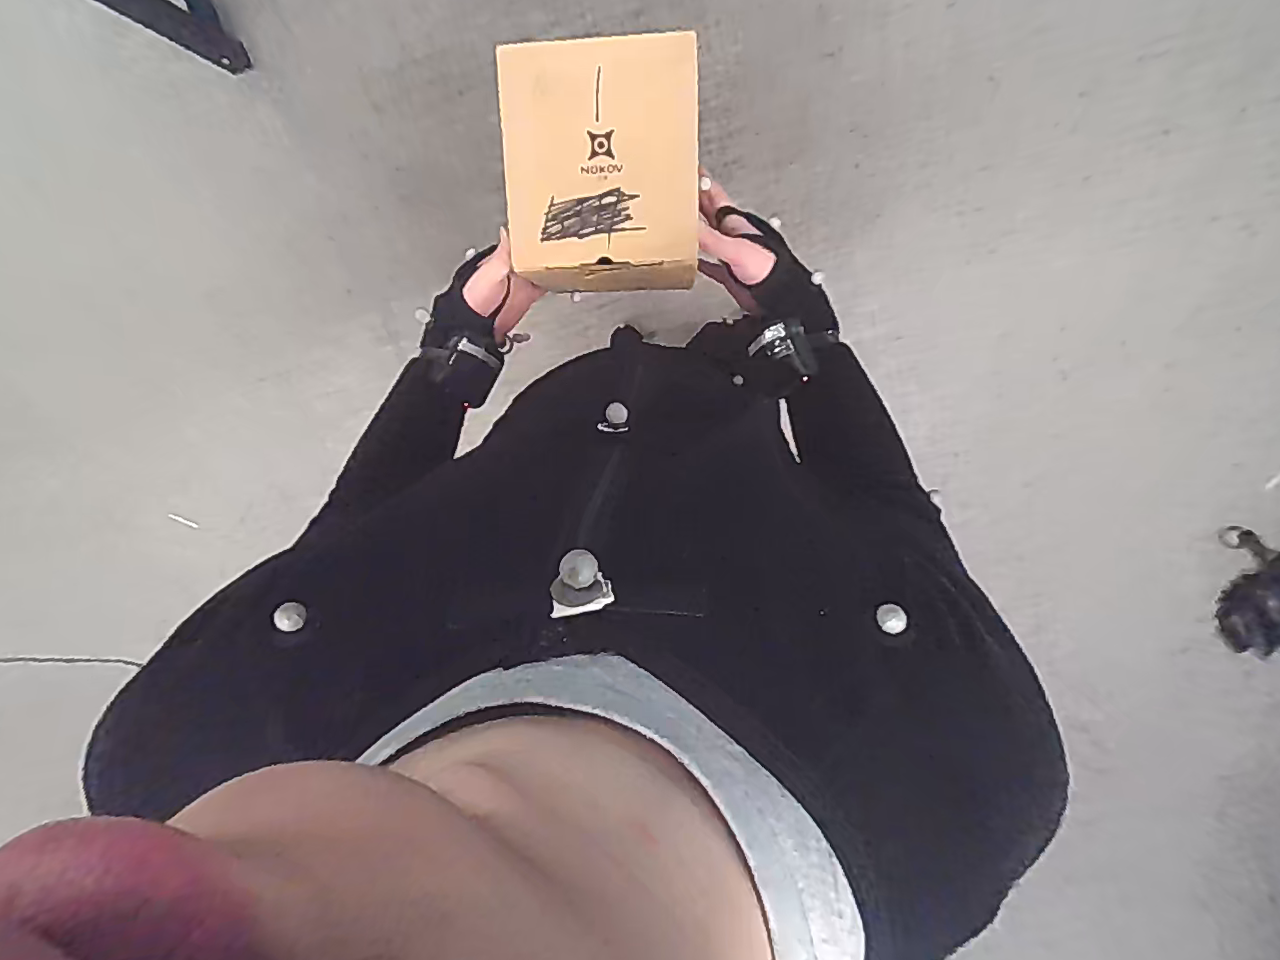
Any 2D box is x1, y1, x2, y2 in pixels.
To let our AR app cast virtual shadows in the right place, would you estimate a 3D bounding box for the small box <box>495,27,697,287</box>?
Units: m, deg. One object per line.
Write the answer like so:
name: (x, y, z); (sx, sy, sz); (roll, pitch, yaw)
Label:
small box: (-0.028, -0.288, 0.526); (0.168, 0.176, 0.179); (-2, 102, 4)
